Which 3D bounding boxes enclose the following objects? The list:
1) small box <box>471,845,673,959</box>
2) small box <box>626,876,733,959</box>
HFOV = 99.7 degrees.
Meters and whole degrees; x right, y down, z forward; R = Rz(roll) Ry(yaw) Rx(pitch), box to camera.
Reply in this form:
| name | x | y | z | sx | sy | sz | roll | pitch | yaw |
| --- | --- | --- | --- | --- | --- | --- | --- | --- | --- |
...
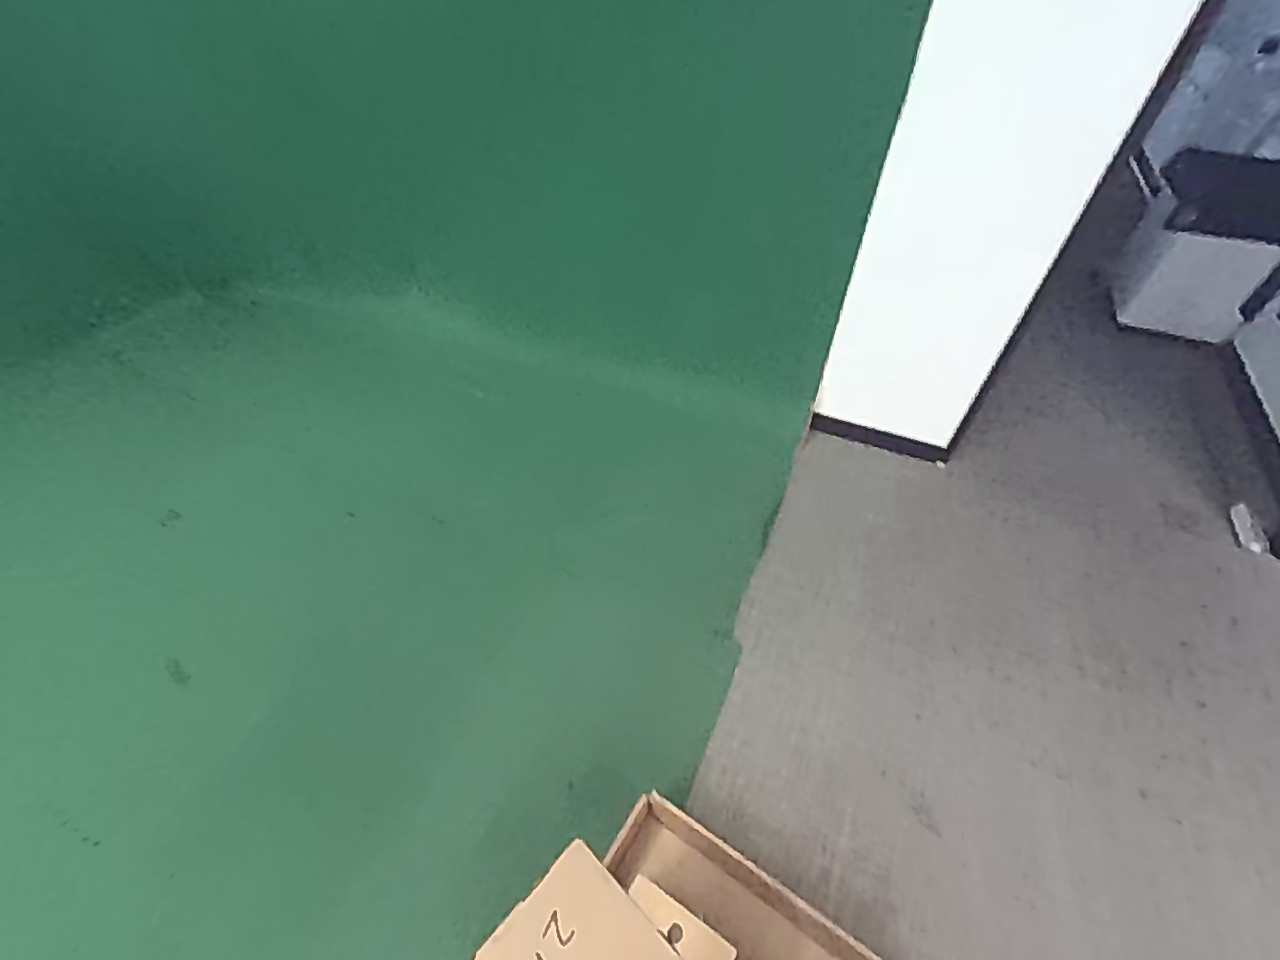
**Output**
| name | x | y | z | sx | sy | sz | roll | pitch | yaw |
| --- | --- | --- | --- | --- | --- | --- | --- | --- | --- |
| small box | -0.041 | 0.434 | 0.416 | 0.179 | 0.176 | 0.168 | 33 | 56 | 32 |
| small box | 0.015 | 0.729 | 0.791 | 0.168 | 0.176 | 0.179 | 26 | 54 | 21 |
